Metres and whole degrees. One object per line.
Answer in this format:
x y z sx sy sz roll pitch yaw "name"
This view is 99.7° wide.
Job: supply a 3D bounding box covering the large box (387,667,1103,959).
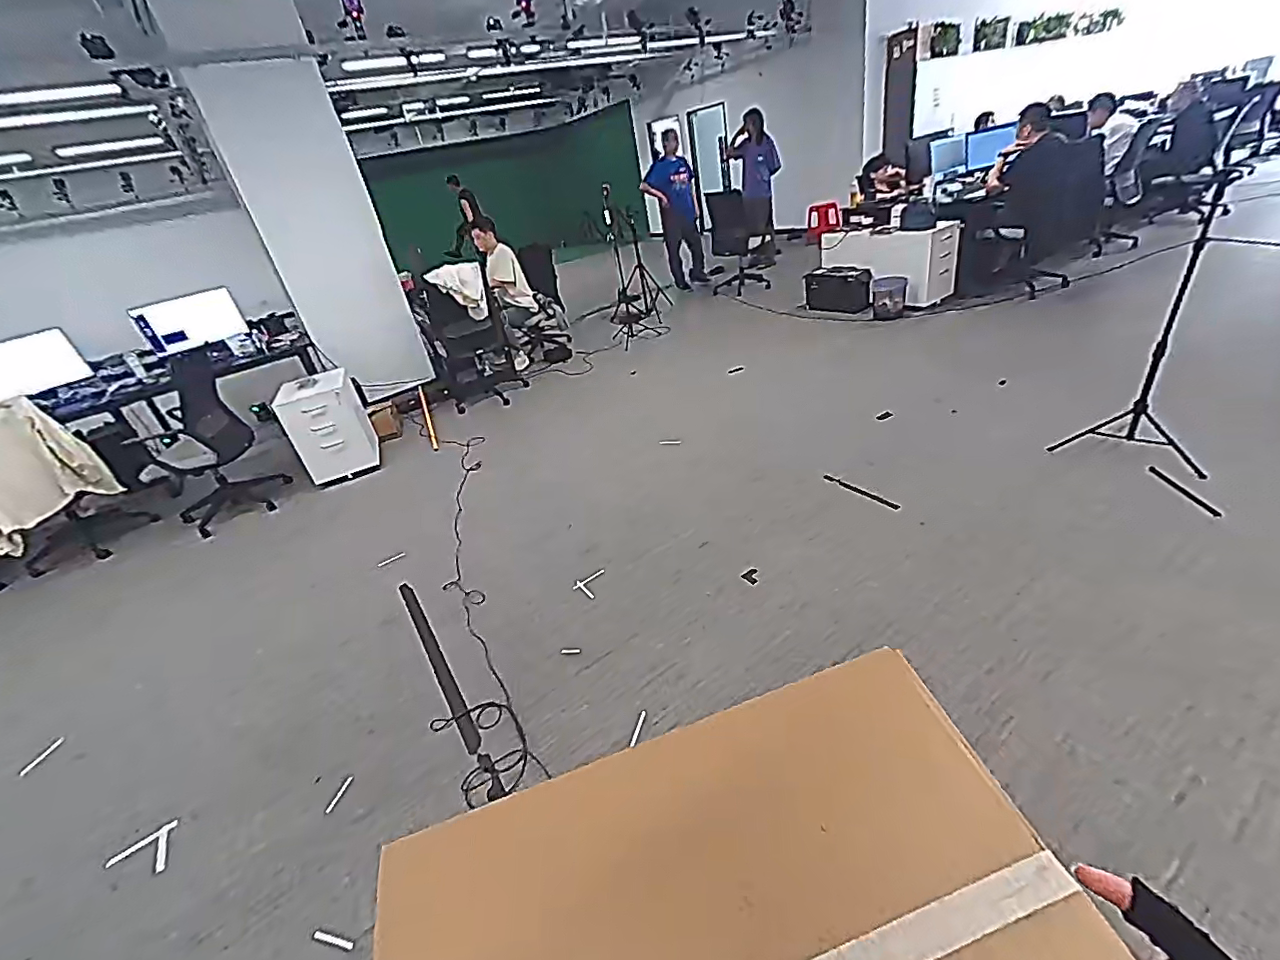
0.081 0.410 0.393 0.408 0.320 0.320 -19 41 -6 "large box"
